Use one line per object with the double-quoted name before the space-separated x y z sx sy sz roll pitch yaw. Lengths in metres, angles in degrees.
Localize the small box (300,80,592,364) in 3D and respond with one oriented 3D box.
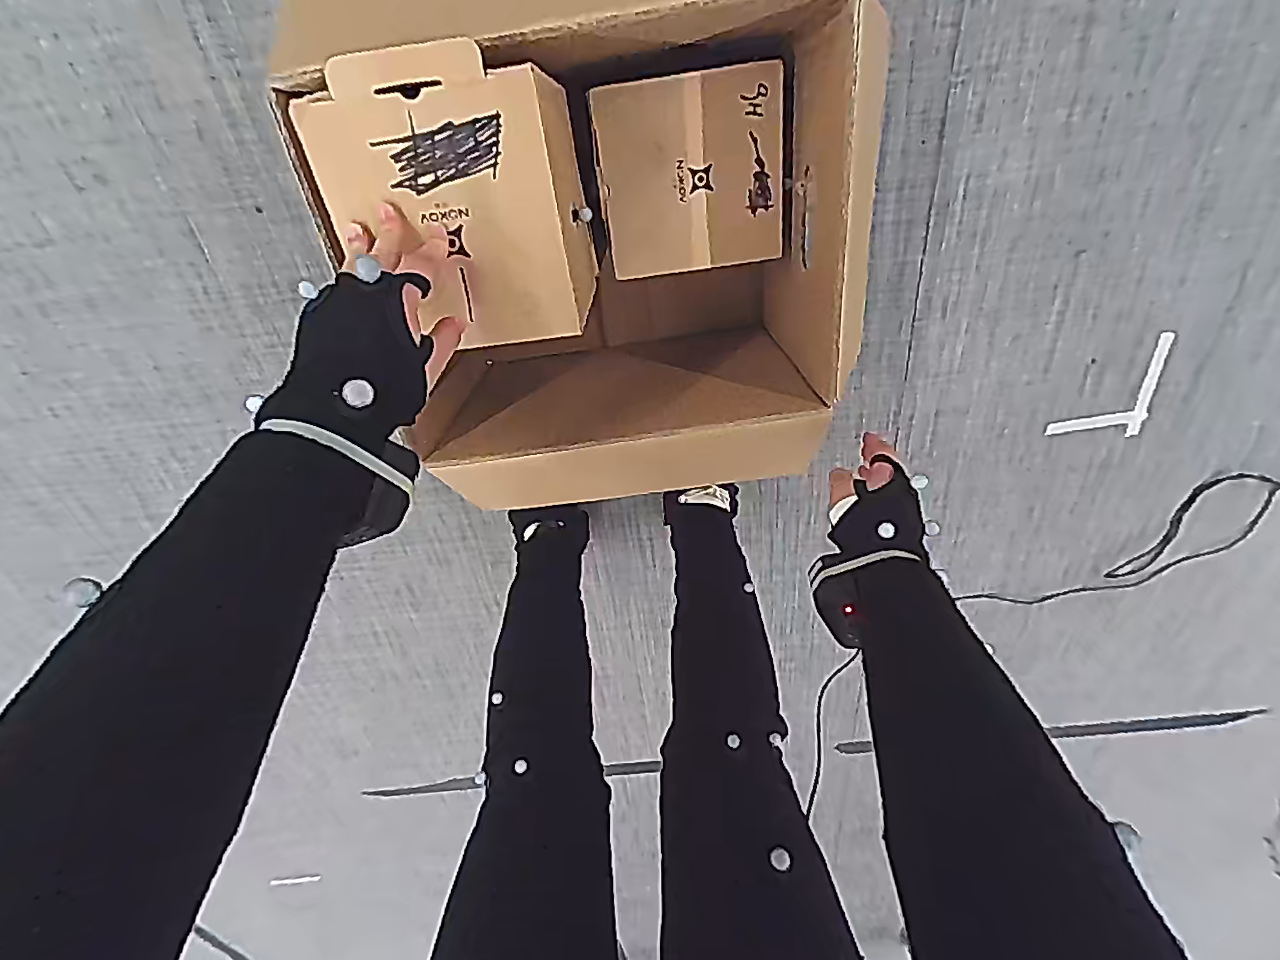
"small box" -0.139 -0.219 0.467 0.168 0.176 0.179 -6 122 4
